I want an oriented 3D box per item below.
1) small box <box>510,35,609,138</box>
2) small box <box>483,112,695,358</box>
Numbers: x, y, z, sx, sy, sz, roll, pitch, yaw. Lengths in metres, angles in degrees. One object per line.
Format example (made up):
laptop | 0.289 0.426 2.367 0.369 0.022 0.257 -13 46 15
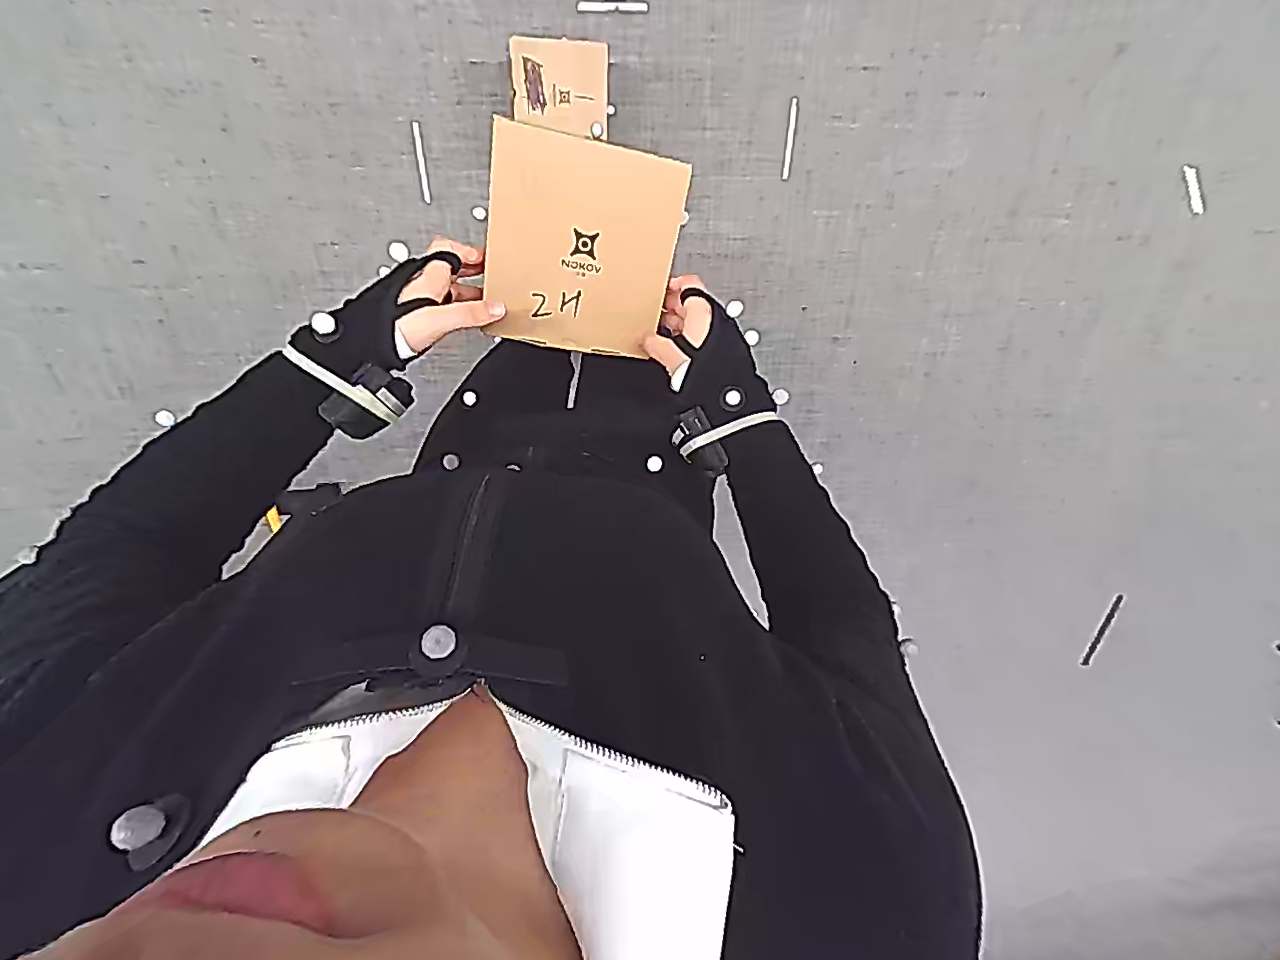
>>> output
small box | -0.151 -0.738 1.053 0.179 0.176 0.168 0 120 -6
small box | -0.062 -0.244 0.543 0.168 0.176 0.179 6 121 -14
